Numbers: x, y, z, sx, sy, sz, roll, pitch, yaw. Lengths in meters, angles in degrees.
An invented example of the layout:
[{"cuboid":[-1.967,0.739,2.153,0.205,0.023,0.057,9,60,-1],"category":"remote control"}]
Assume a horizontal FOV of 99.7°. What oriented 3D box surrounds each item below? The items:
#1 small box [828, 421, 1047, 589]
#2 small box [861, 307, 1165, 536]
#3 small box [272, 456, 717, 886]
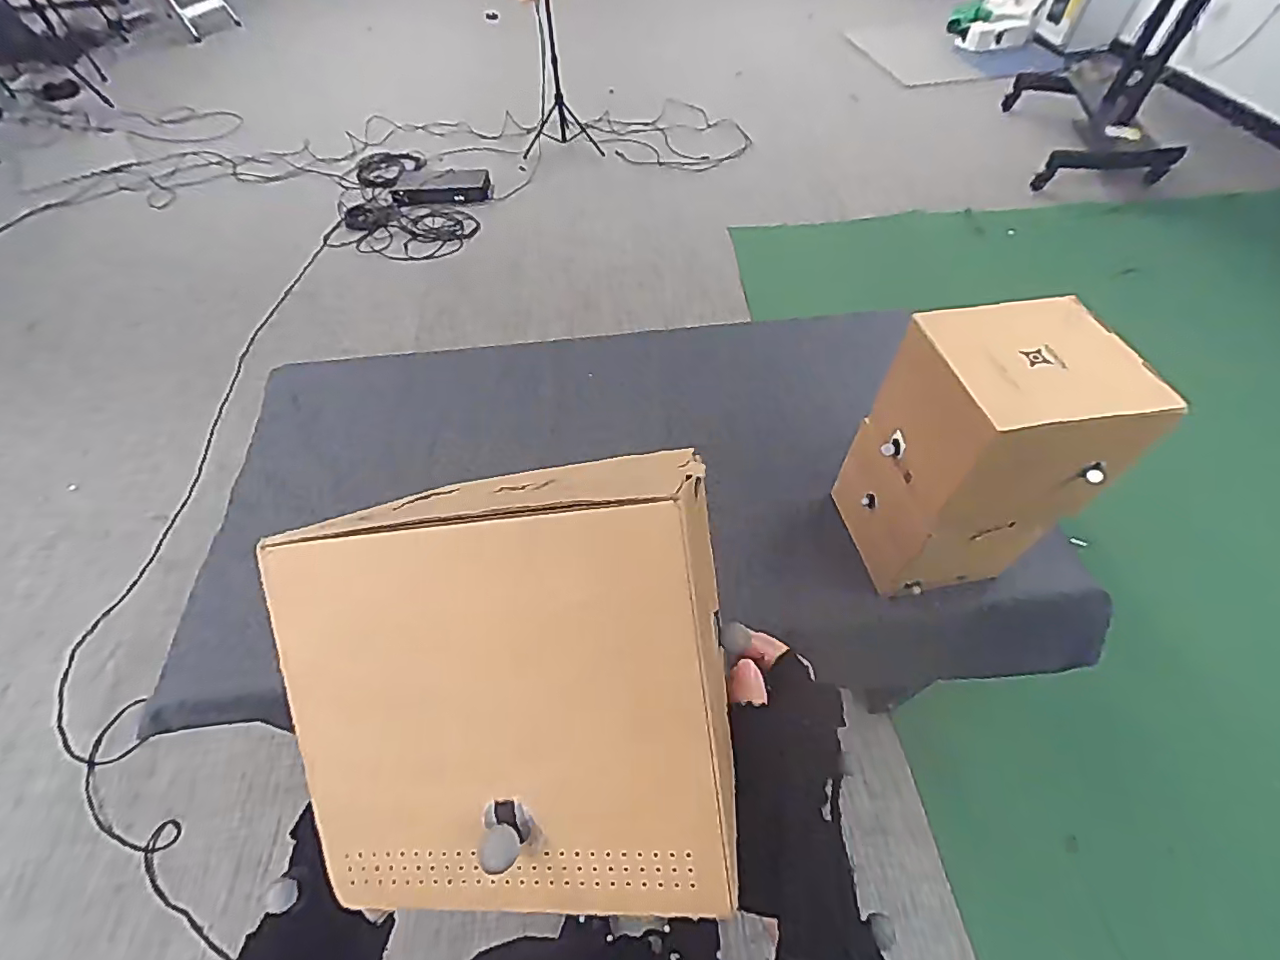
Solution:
[{"cuboid":[0.373,0.030,0.716,0.168,0.176,0.179,-9,53,-5],"category":"small box"},{"cuboid":[0.370,-0.058,0.580,0.179,0.176,0.168,-8,52,-3],"category":"small box"},{"cuboid":[-0.051,0.086,0.302,0.179,0.168,0.176,-6,96,9],"category":"small box"}]
